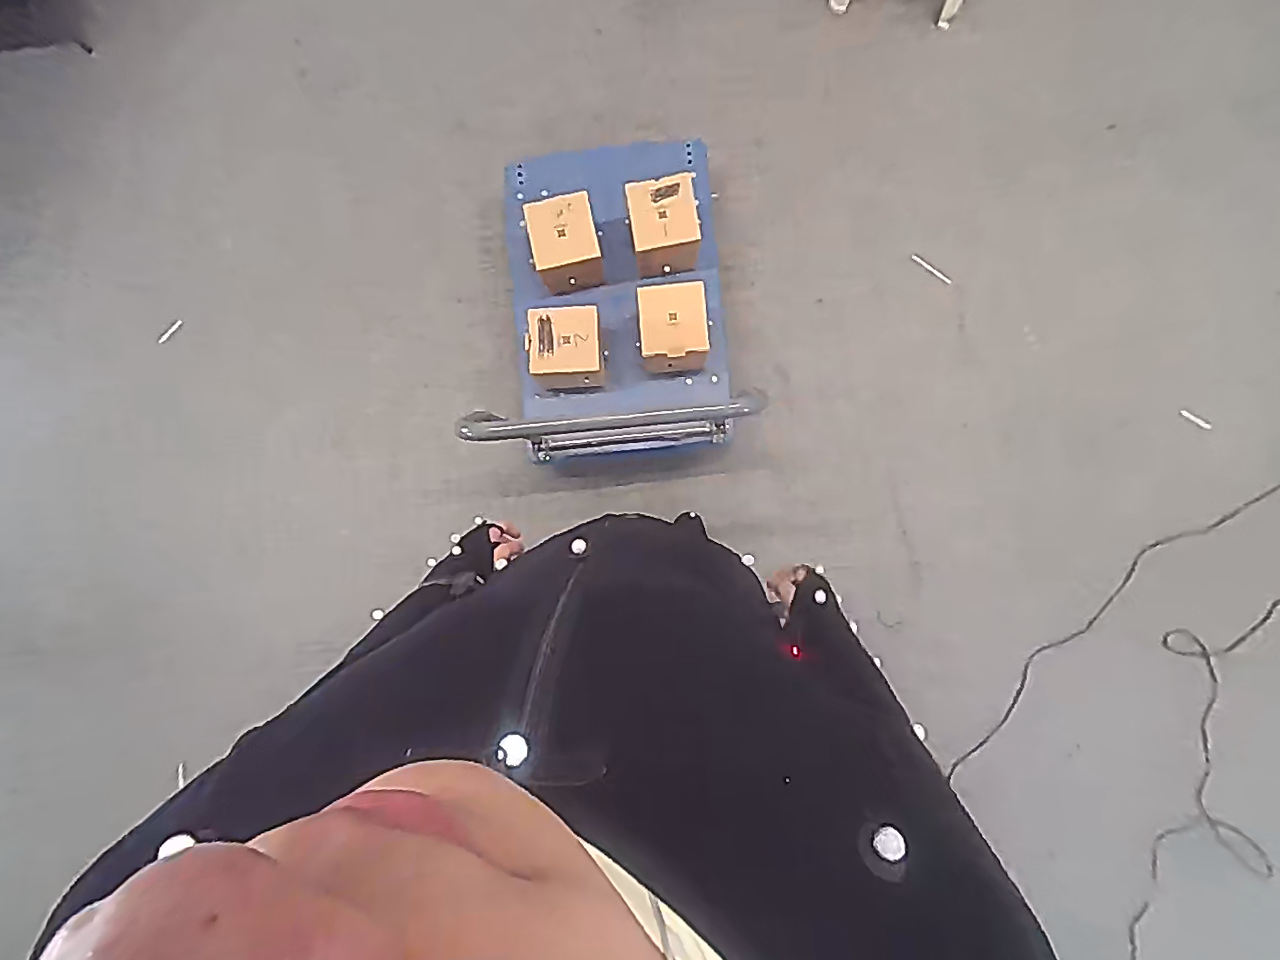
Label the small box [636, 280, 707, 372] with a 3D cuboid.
[{"bbox_3d":[0.078,-0.392,1.399,0.168,0.176,0.179,-6,87,2],"label":"small box"}]

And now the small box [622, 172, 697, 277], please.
[{"bbox_3d":[0.051,-0.660,1.411,0.168,0.176,0.179,-10,88,2],"label":"small box"}]

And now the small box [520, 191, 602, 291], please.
[{"bbox_3d":[-0.201,-0.615,1.418,0.168,0.176,0.179,-13,87,1],"label":"small box"}]
